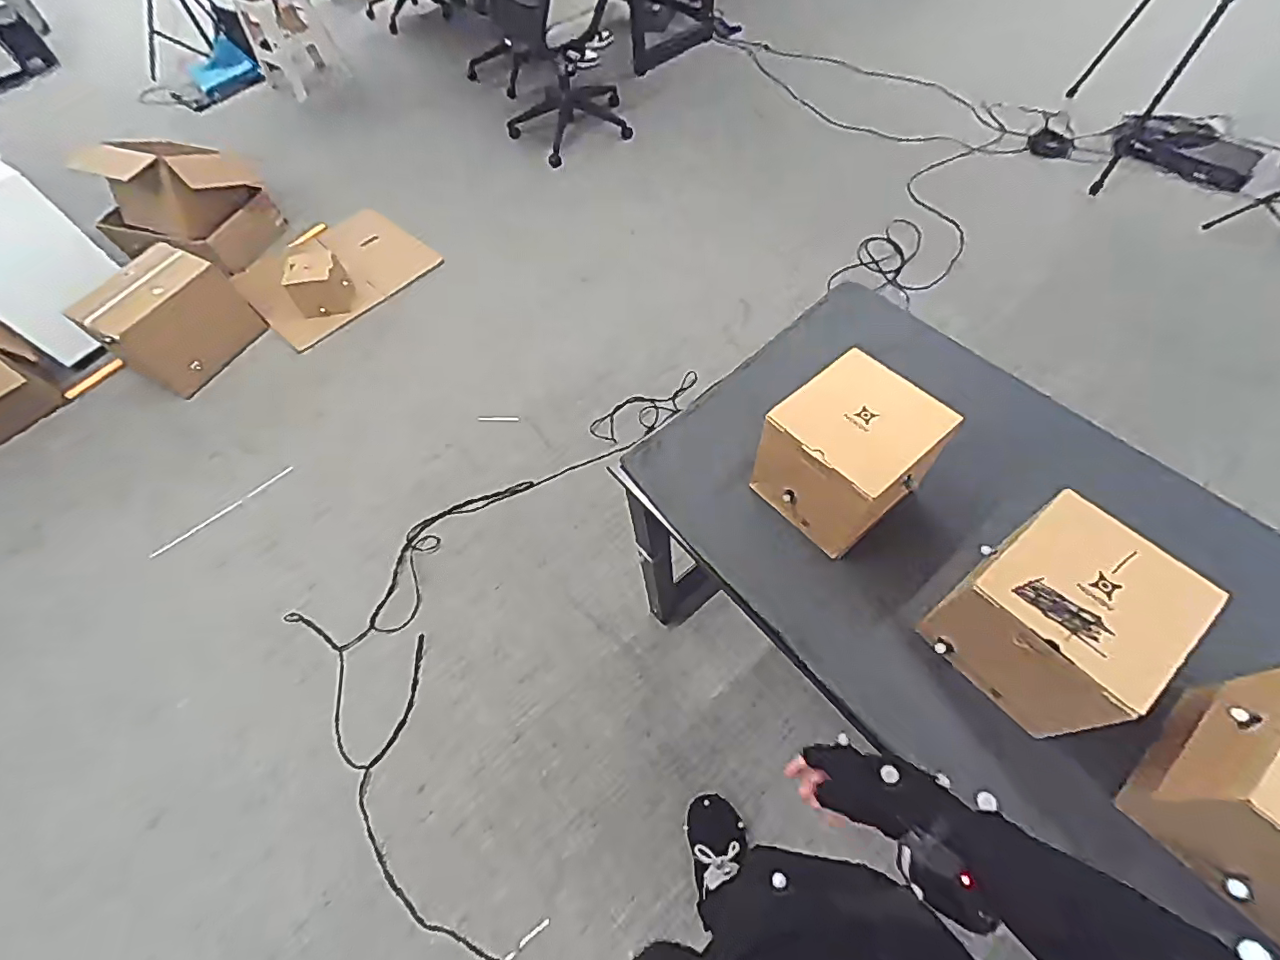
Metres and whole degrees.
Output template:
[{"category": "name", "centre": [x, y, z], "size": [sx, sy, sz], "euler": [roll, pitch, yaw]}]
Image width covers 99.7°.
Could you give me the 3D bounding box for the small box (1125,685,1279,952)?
[{"category": "small box", "centre": [0.616, 0.310, 0.499], "size": [0.179, 0.176, 0.168], "euler": [-38, 63, -17]}]

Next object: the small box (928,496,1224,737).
[{"category": "small box", "centre": [0.458, 0.158, 0.605], "size": [0.179, 0.176, 0.168], "euler": [-36, 63, -17]}]

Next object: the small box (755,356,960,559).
[{"category": "small box", "centre": [0.277, -0.026, 0.732], "size": [0.179, 0.176, 0.168], "euler": [-37, 64, -18]}]
